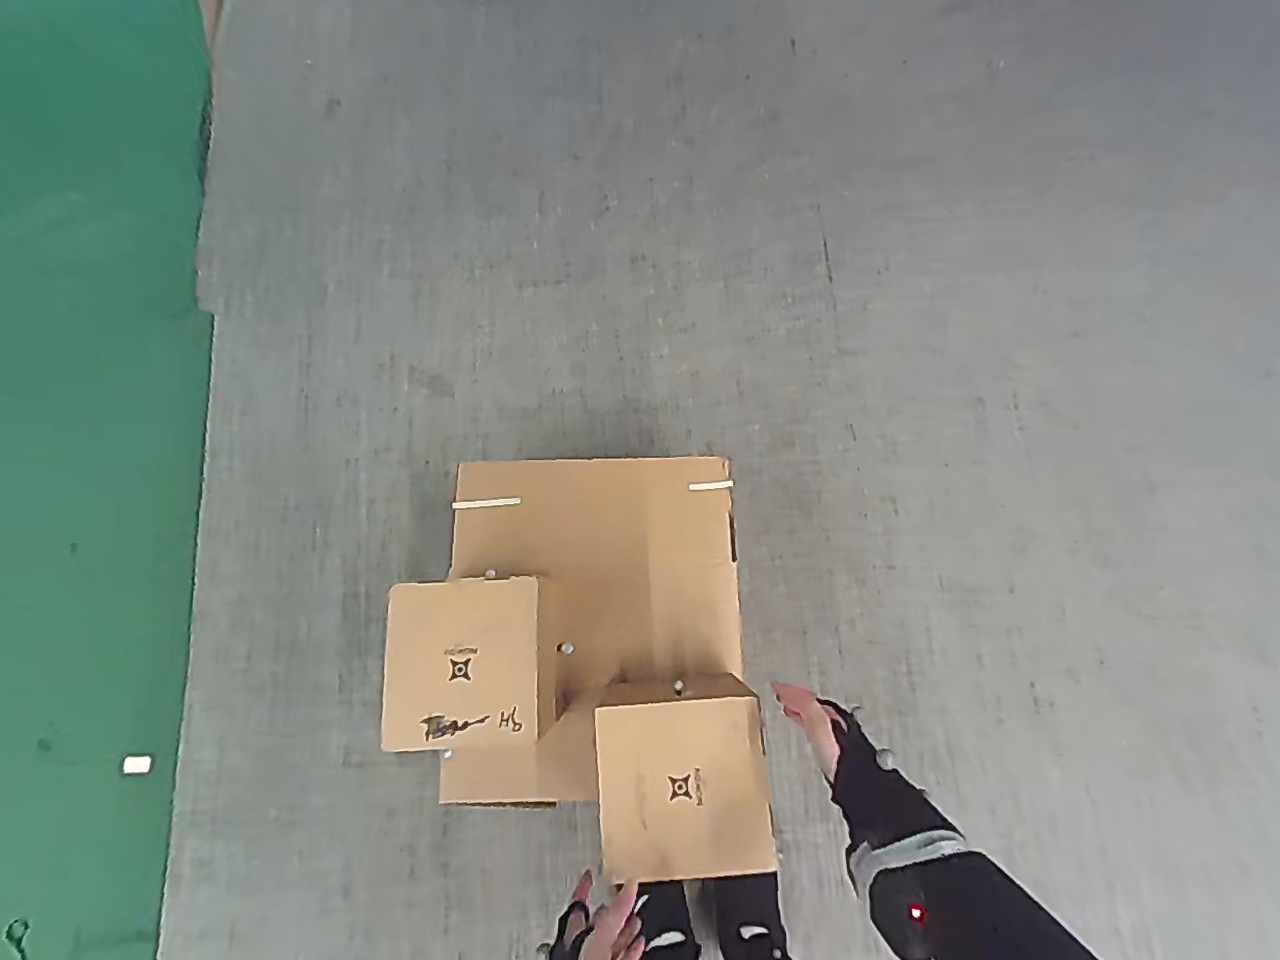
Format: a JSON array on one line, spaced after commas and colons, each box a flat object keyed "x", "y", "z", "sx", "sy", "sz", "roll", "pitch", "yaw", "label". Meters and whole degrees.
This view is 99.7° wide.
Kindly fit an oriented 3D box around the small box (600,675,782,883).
[{"x": 0.049, "y": 0.326, "z": 0.624, "sx": 0.179, "sy": 0.176, "sz": 0.168, "roll": -4, "pitch": 77, "yaw": -1, "label": "small box"}]

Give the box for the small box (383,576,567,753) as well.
[{"x": -0.183, "y": 0.213, "z": 0.651, "sx": 0.168, "sy": 0.176, "sz": 0.179, "roll": -3, "pitch": 77, "yaw": 1, "label": "small box"}]
